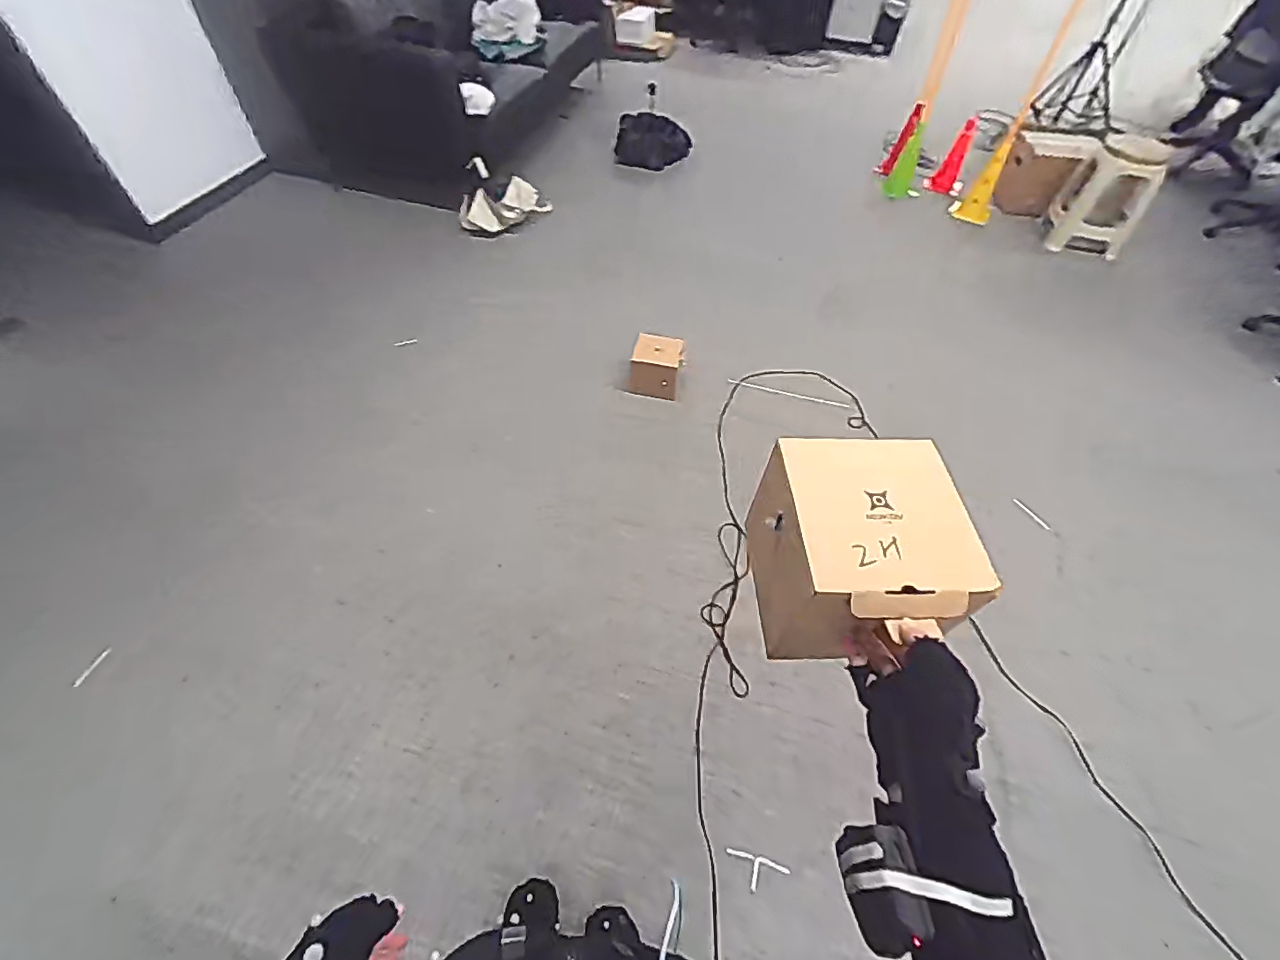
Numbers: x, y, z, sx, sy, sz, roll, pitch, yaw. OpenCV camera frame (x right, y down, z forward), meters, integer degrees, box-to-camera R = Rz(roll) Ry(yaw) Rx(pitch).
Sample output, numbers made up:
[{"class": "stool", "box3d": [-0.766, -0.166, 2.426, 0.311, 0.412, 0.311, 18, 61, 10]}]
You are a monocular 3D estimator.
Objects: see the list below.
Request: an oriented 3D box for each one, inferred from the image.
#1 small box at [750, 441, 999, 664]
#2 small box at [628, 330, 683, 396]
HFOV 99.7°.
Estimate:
[{"class": "small box", "box3d": [0.222, 0.079, 0.573, 0.168, 0.176, 0.179, 1, 53, -3]}, {"class": "small box", "box3d": [0.057, -0.441, 2.049, 0.179, 0.176, 0.168, 10, 53, 6]}]
